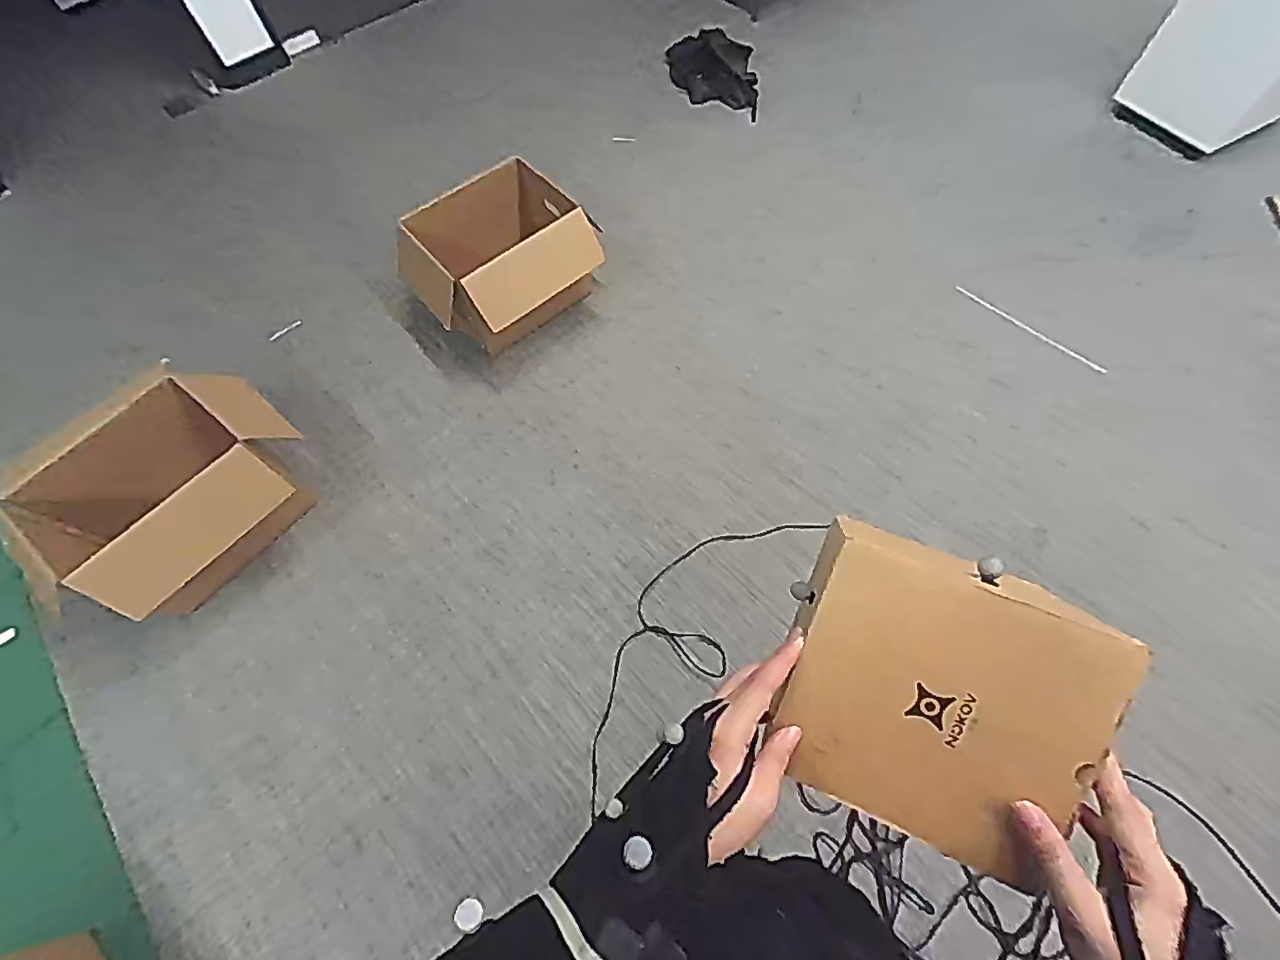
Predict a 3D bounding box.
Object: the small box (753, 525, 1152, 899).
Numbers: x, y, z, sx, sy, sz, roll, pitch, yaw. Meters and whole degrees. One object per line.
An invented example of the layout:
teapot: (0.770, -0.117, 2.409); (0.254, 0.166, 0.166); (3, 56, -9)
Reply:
small box: (0.201, 0.139, 0.404); (0.179, 0.176, 0.168); (21, 96, 15)
